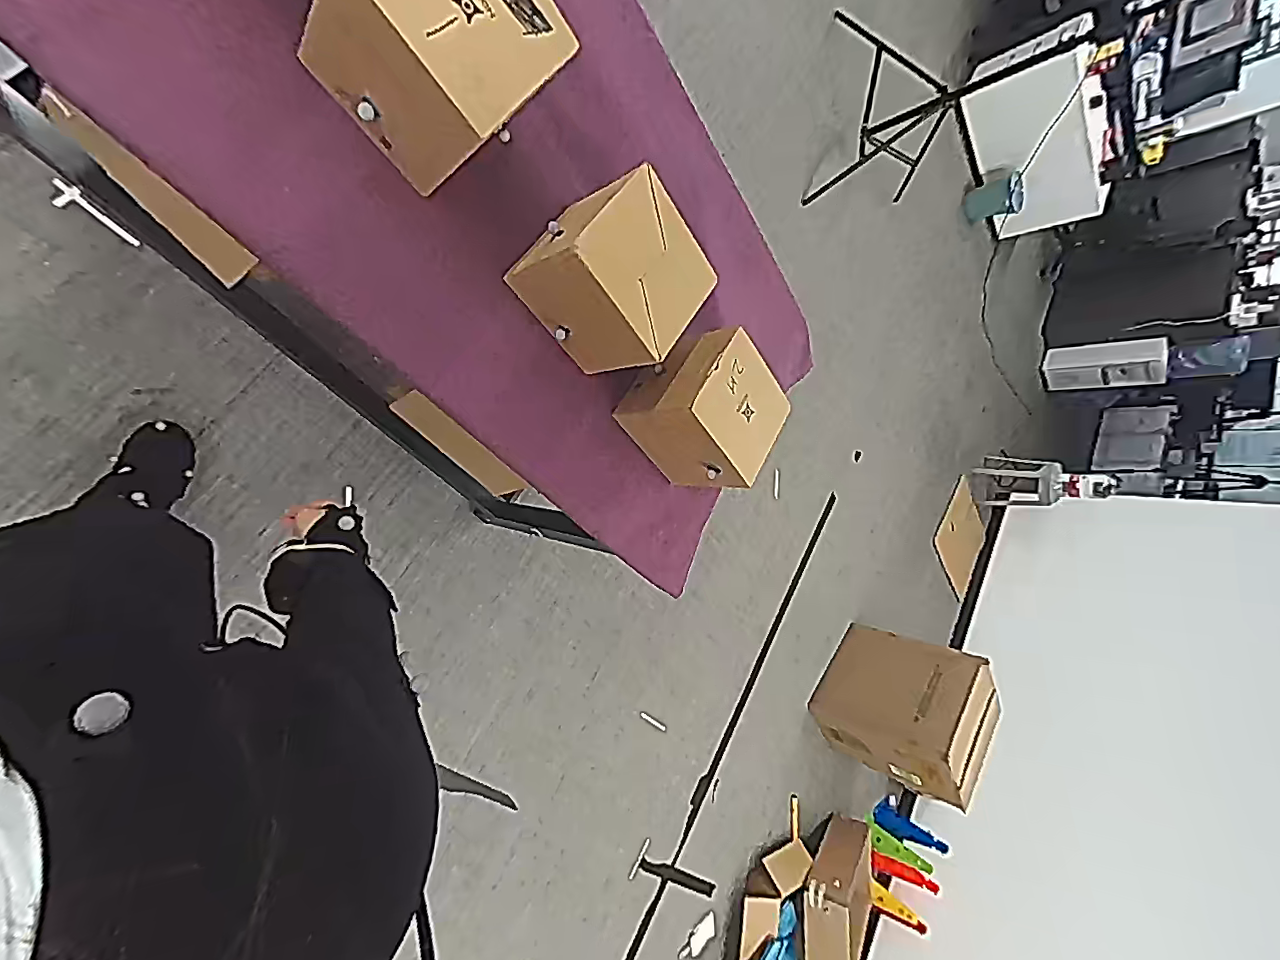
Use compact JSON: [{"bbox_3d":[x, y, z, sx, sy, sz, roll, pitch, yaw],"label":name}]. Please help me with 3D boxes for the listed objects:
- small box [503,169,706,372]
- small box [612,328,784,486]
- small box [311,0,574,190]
[{"bbox_3d":[-0.041,-0.272,0.724,0.179,0.176,0.168,48,62,-32],"label":"small box"},{"bbox_3d":[0.092,-0.111,0.853,0.179,0.176,0.168,48,61,-32],"label":"small box"},{"bbox_3d":[-0.210,-0.449,0.570,0.168,0.176,0.179,47,65,-33],"label":"small box"}]
